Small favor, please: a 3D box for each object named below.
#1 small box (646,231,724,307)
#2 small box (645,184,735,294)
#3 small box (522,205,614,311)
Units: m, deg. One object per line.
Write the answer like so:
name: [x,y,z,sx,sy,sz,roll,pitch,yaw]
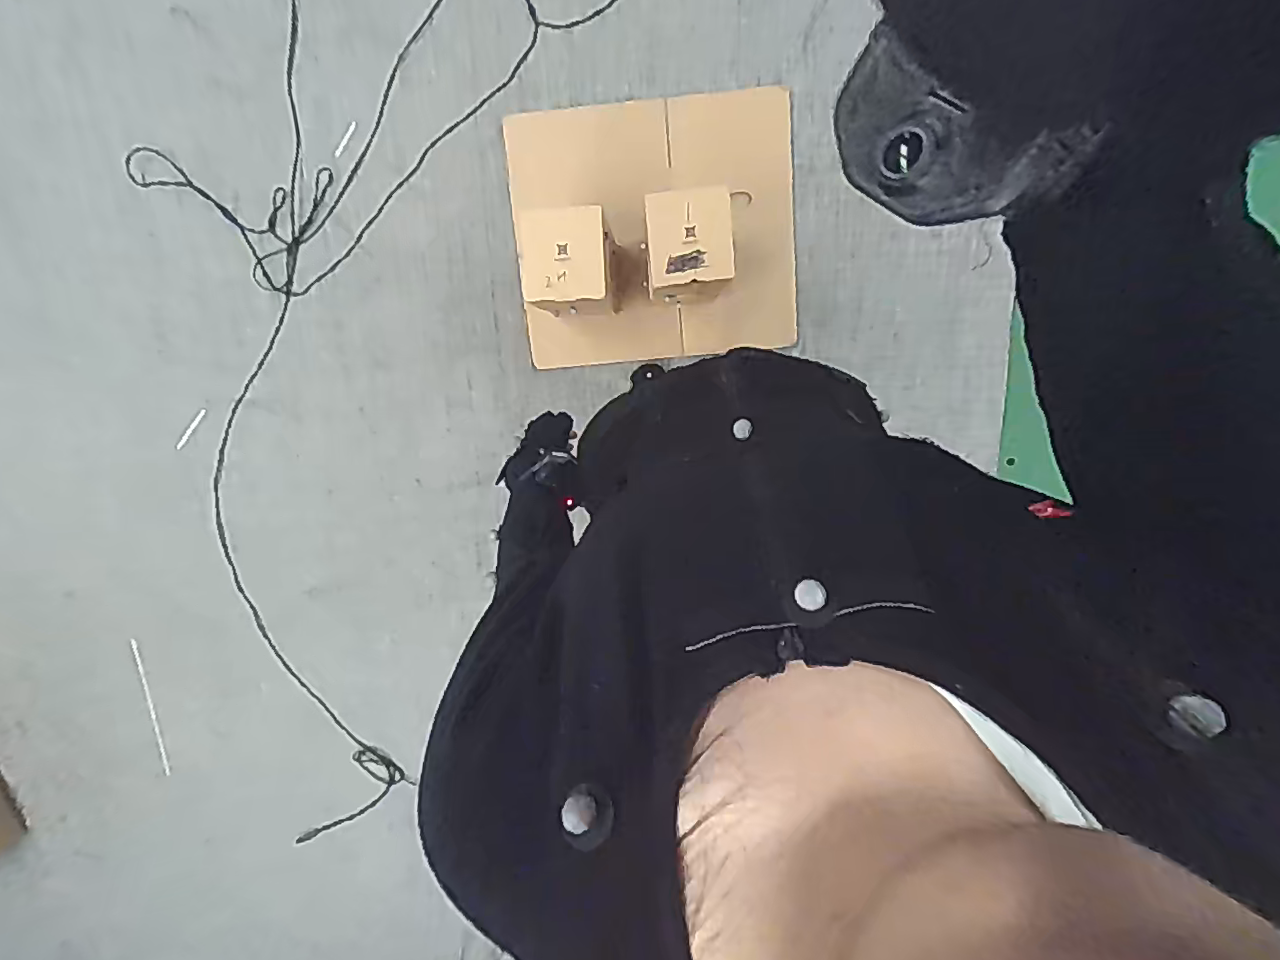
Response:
small box: [0.104,-0.521,1.290,0.168,0.176,0.179,-6,102,2]
small box: [0.101,-0.490,1.128,0.168,0.176,0.179,-6,101,3]
small box: [-0.145,-0.460,1.139,0.168,0.176,0.179,-1,102,3]
